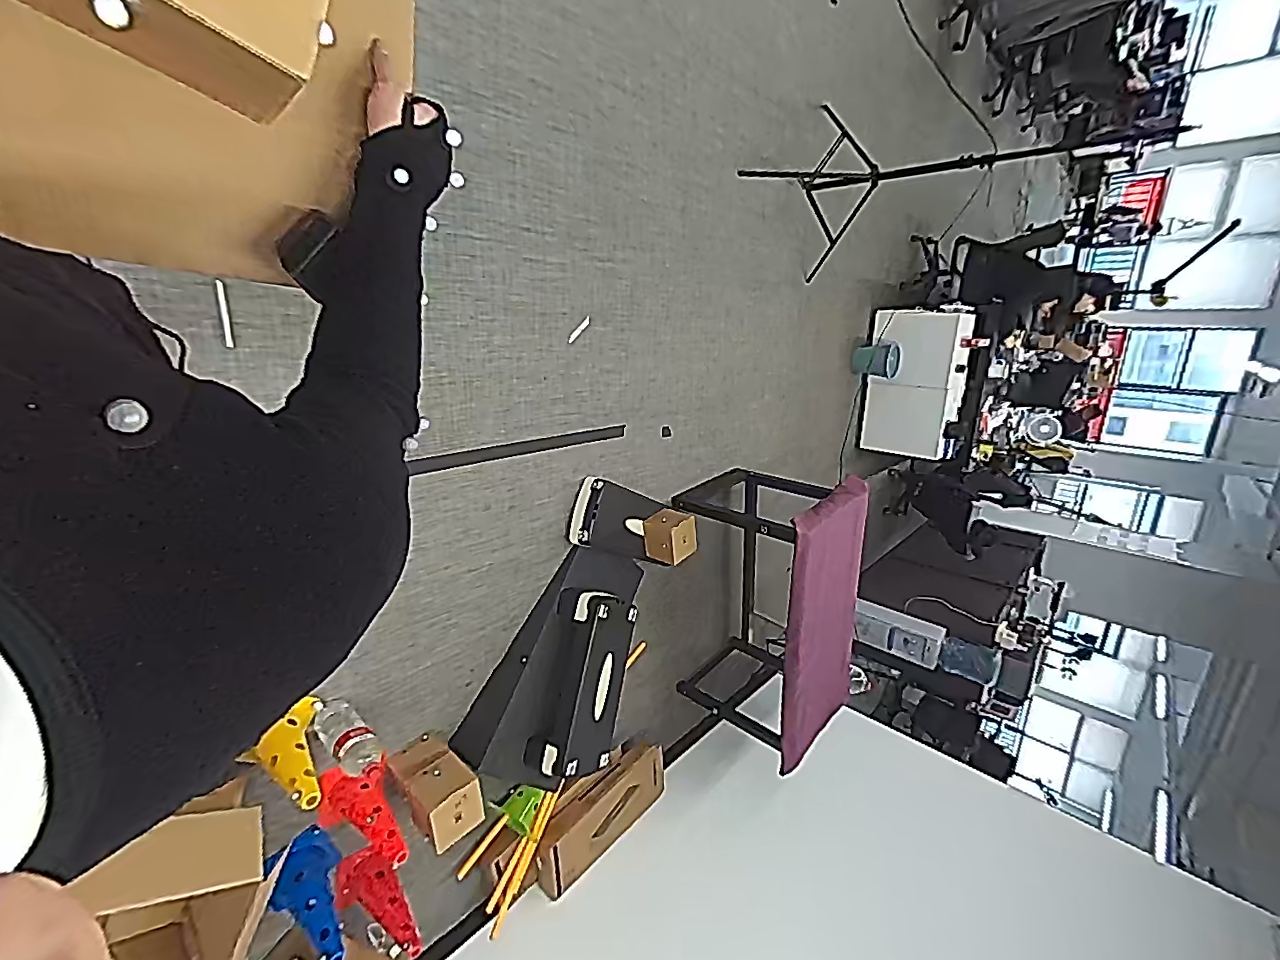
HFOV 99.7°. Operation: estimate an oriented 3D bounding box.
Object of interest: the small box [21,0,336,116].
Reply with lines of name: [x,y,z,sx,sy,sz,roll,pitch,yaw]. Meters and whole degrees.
small box: [-0.310,-0.377,0.358,0.179,0.176,0.168,12,99,-43]
